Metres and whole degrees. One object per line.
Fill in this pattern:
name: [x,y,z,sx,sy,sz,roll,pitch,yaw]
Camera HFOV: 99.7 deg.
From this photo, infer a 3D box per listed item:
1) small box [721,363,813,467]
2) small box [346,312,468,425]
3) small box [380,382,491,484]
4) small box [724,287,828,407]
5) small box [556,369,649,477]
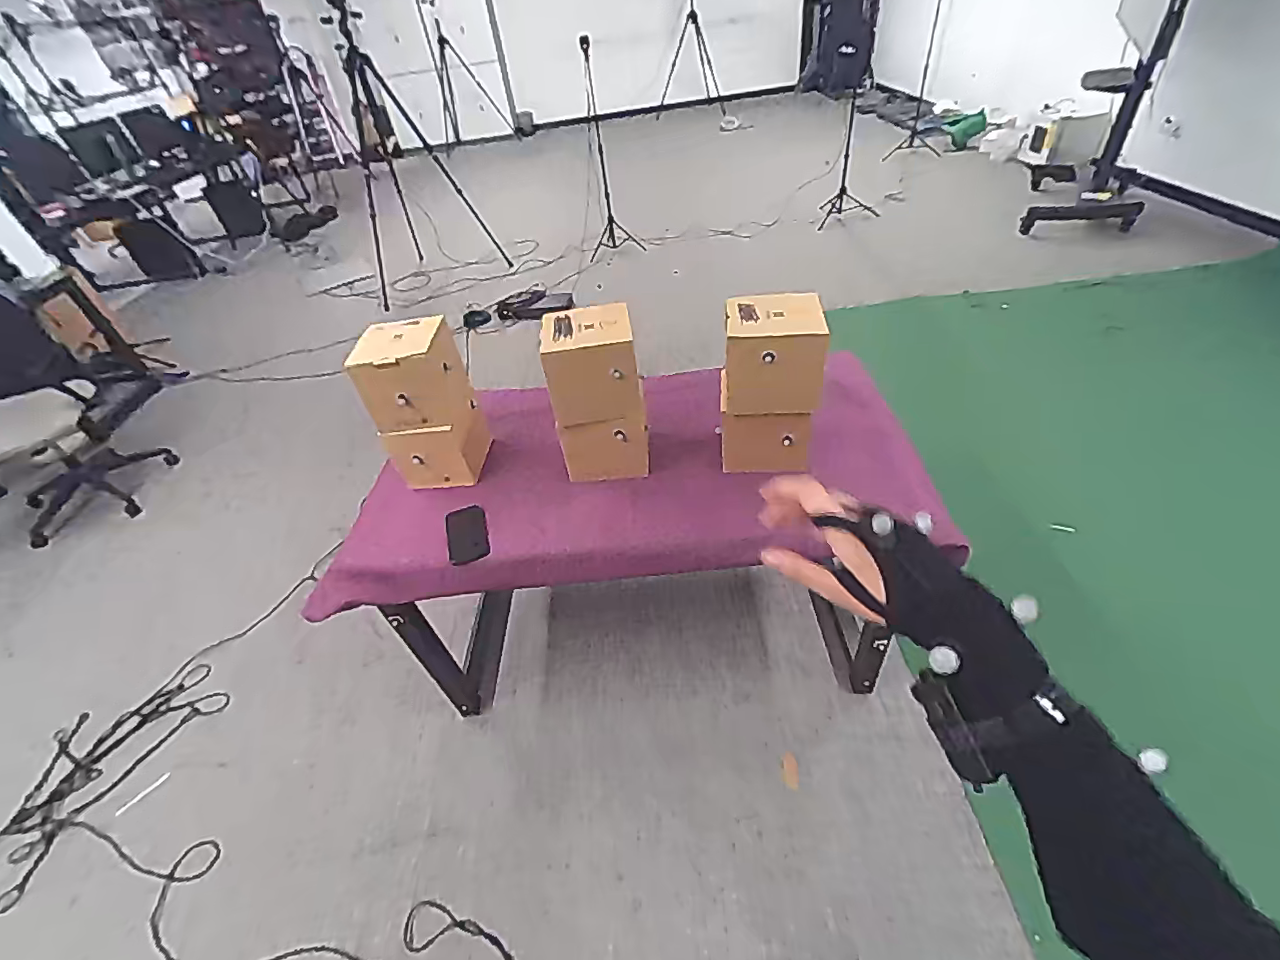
small box: [0.265,-0.141,1.155,0.179,0.176,0.168,-1,42,11]
small box: [-0.480,-0.229,1.147,0.168,0.176,0.179,-7,43,2]
small box: [-0.460,-0.103,1.250,0.168,0.176,0.179,-4,42,6]
small box: [0.253,-0.251,1.034,0.179,0.176,0.168,0,43,9]
small box: [-0.073,-0.123,1.197,0.179,0.176,0.168,-5,42,6]
